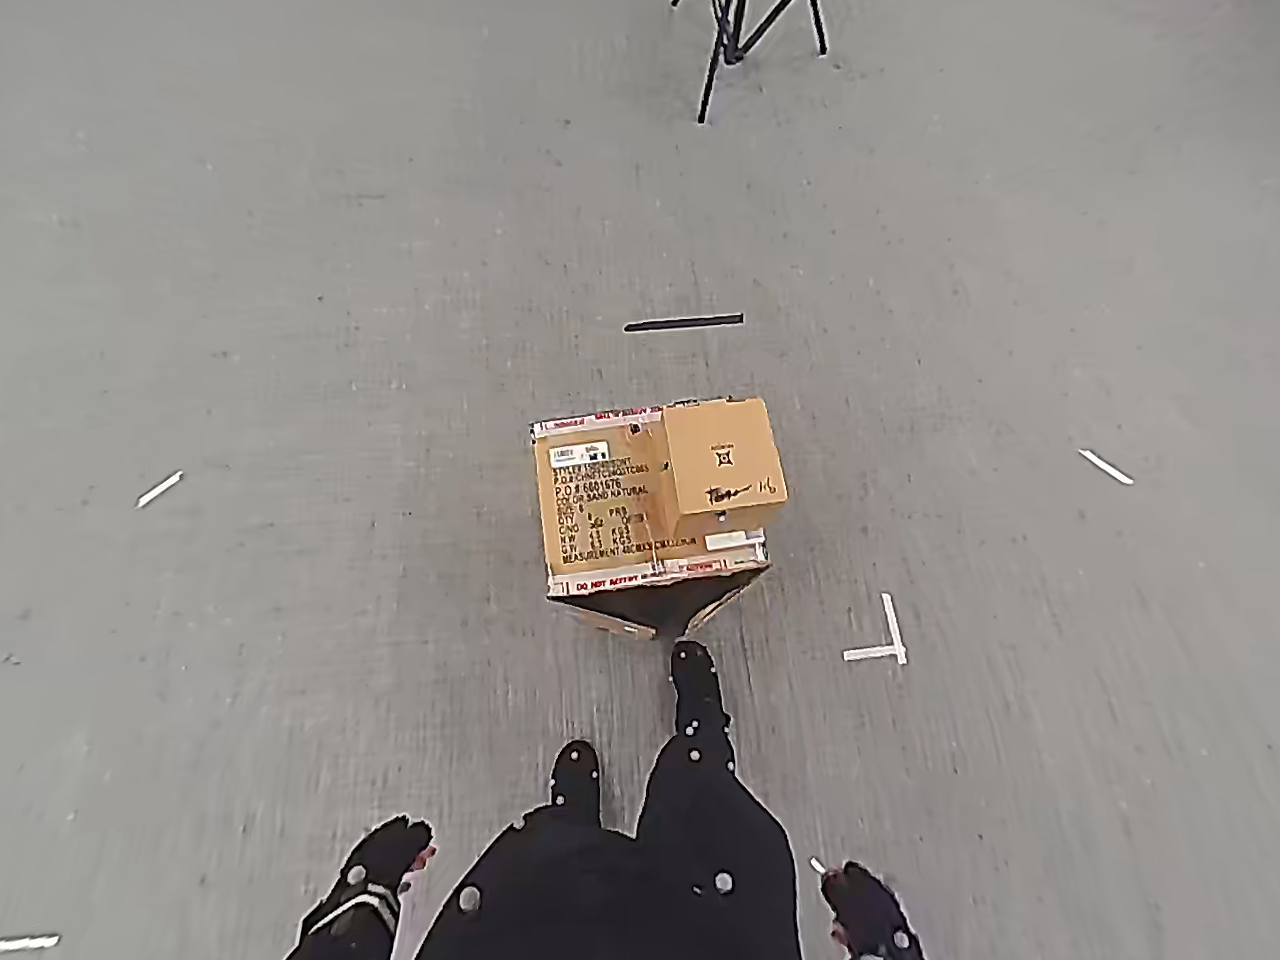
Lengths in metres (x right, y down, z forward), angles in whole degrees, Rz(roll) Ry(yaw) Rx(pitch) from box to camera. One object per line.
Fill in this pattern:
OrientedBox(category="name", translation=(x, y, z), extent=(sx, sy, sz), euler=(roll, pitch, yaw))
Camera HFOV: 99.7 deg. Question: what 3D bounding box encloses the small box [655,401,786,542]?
OrientedBox(category="small box", translation=(0.120, -0.009, 0.895), extent=(0.168, 0.176, 0.179), euler=(-7, 70, -5))
